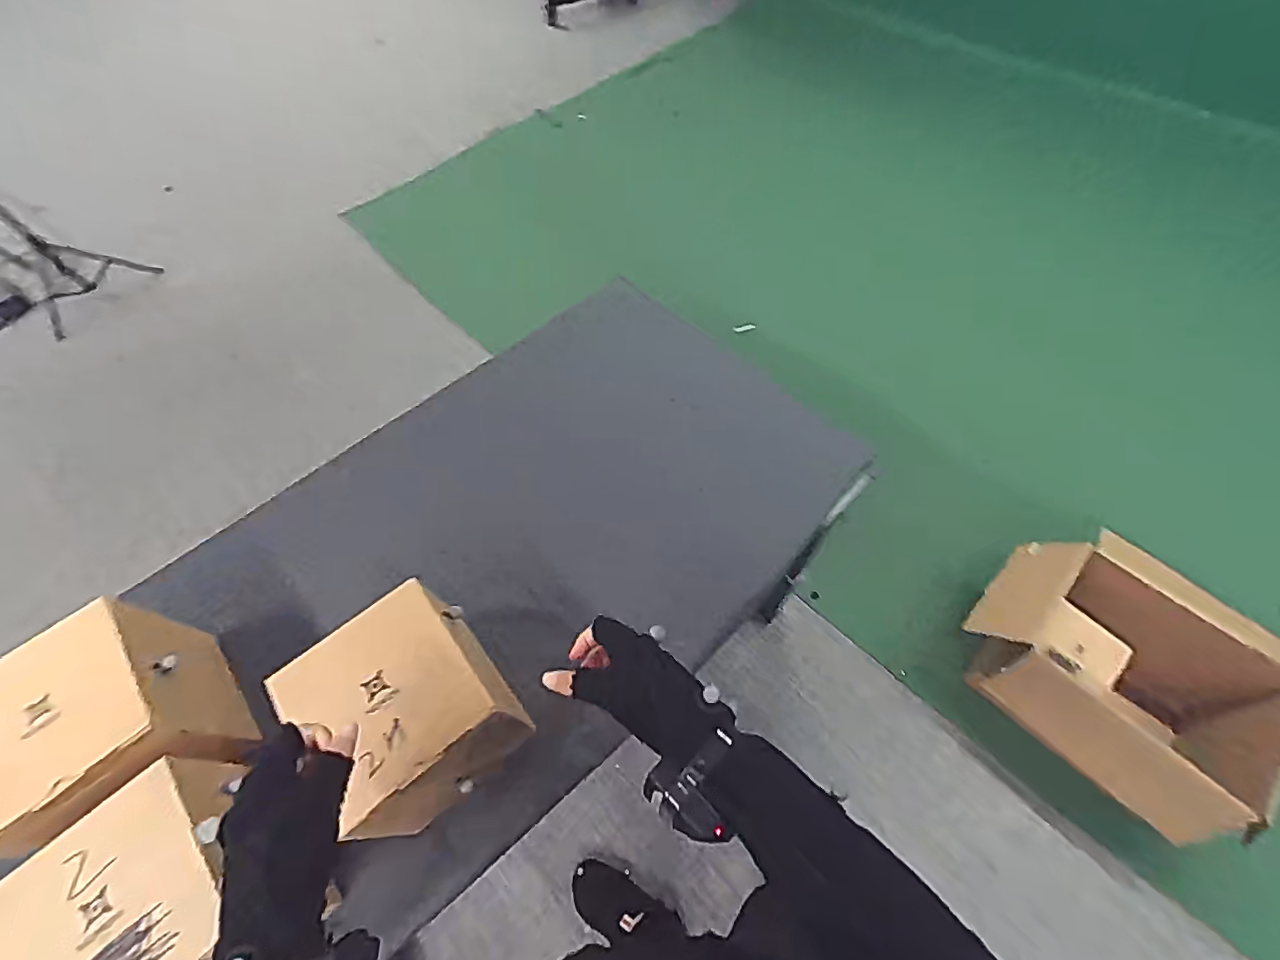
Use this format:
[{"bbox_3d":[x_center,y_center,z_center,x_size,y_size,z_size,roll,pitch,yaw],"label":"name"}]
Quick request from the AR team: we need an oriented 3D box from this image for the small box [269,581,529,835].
[{"bbox_3d":[-0.247,0.248,0.588,0.168,0.176,0.179,-37,64,-17],"label":"small box"}]

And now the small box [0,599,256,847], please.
[{"bbox_3d":[-0.579,0.269,0.594,0.168,0.176,0.179,-38,66,-18],"label":"small box"}]
